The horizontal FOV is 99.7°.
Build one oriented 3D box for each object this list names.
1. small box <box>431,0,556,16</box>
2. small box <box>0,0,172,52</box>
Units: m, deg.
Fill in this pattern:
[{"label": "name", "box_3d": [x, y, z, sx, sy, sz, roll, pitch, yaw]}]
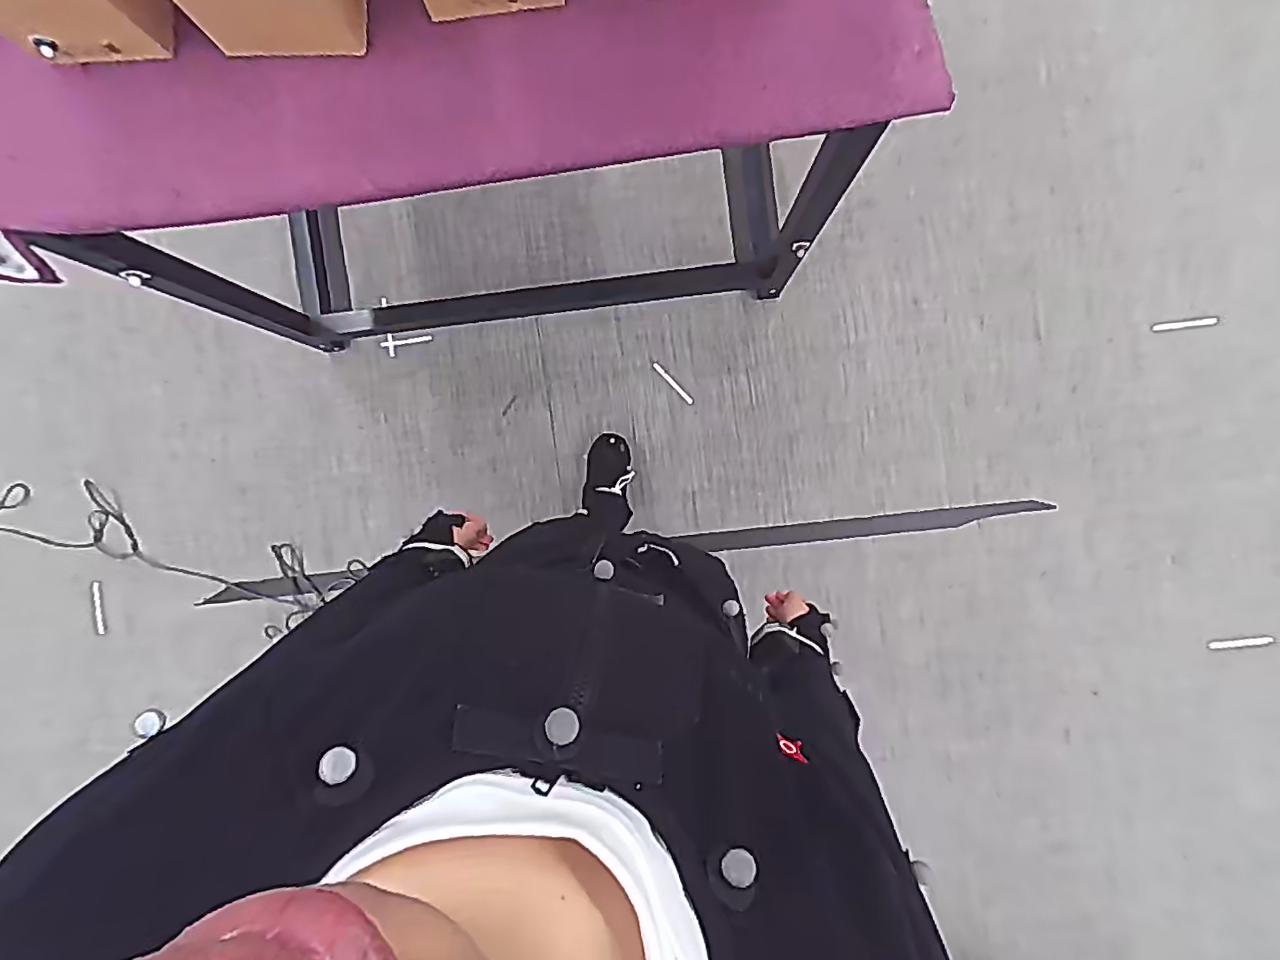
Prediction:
[{"label": "small box", "box_3d": [-0.182, -0.655, 0.575, 0.168, 0.176, 0.179, -6, 90, 2]}, {"label": "small box", "box_3d": [-0.658, -0.608, 0.588, 0.168, 0.176, 0.179, -1, 91, 1]}]
